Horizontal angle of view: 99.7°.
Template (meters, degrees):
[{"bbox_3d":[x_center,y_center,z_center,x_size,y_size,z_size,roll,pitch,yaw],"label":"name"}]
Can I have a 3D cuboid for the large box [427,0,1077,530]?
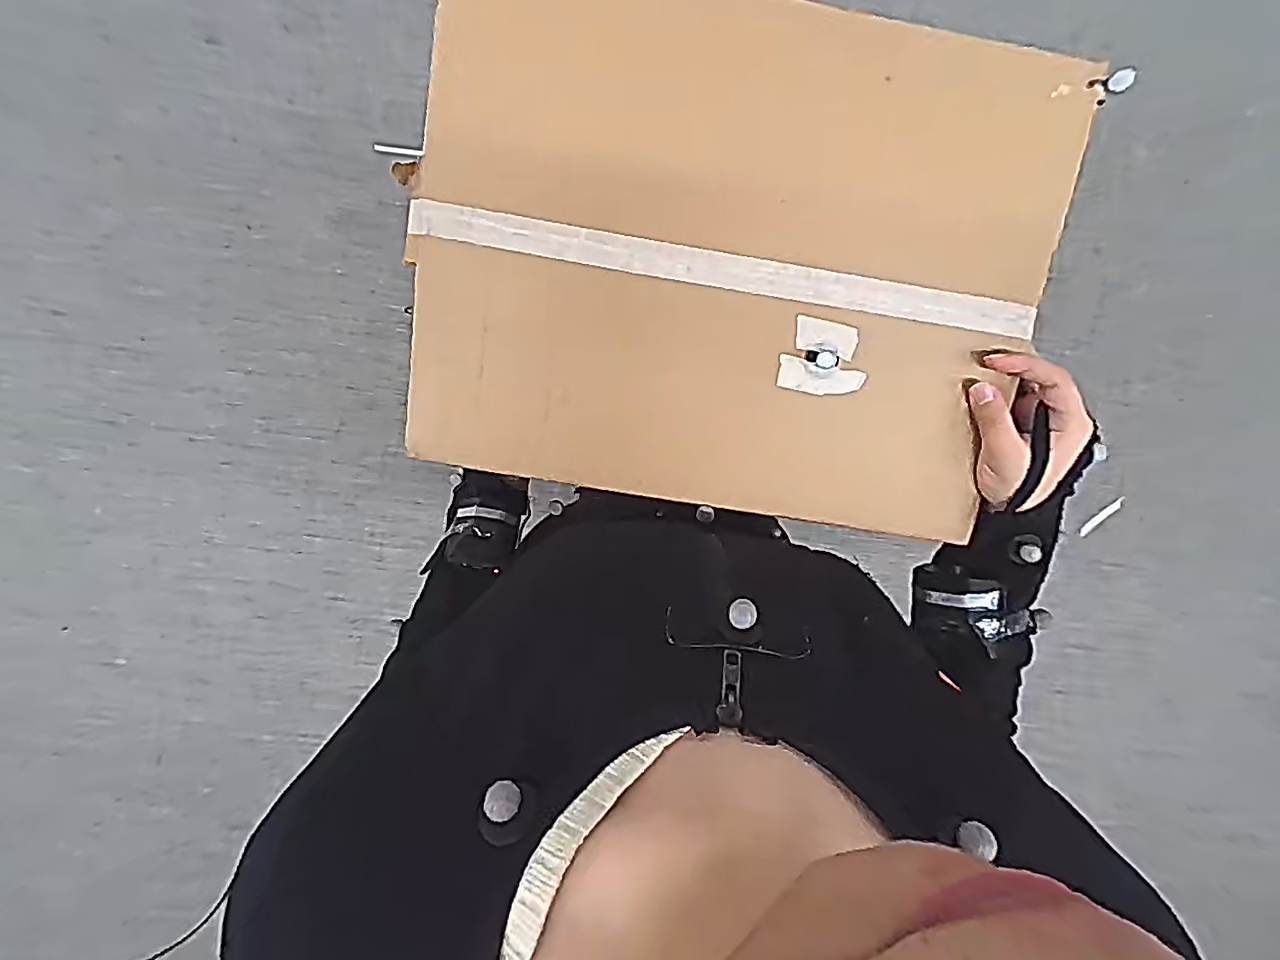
[{"bbox_3d":[0.058,-0.163,0.507,0.408,0.320,0.320,8,102,-4],"label":"large box"}]
